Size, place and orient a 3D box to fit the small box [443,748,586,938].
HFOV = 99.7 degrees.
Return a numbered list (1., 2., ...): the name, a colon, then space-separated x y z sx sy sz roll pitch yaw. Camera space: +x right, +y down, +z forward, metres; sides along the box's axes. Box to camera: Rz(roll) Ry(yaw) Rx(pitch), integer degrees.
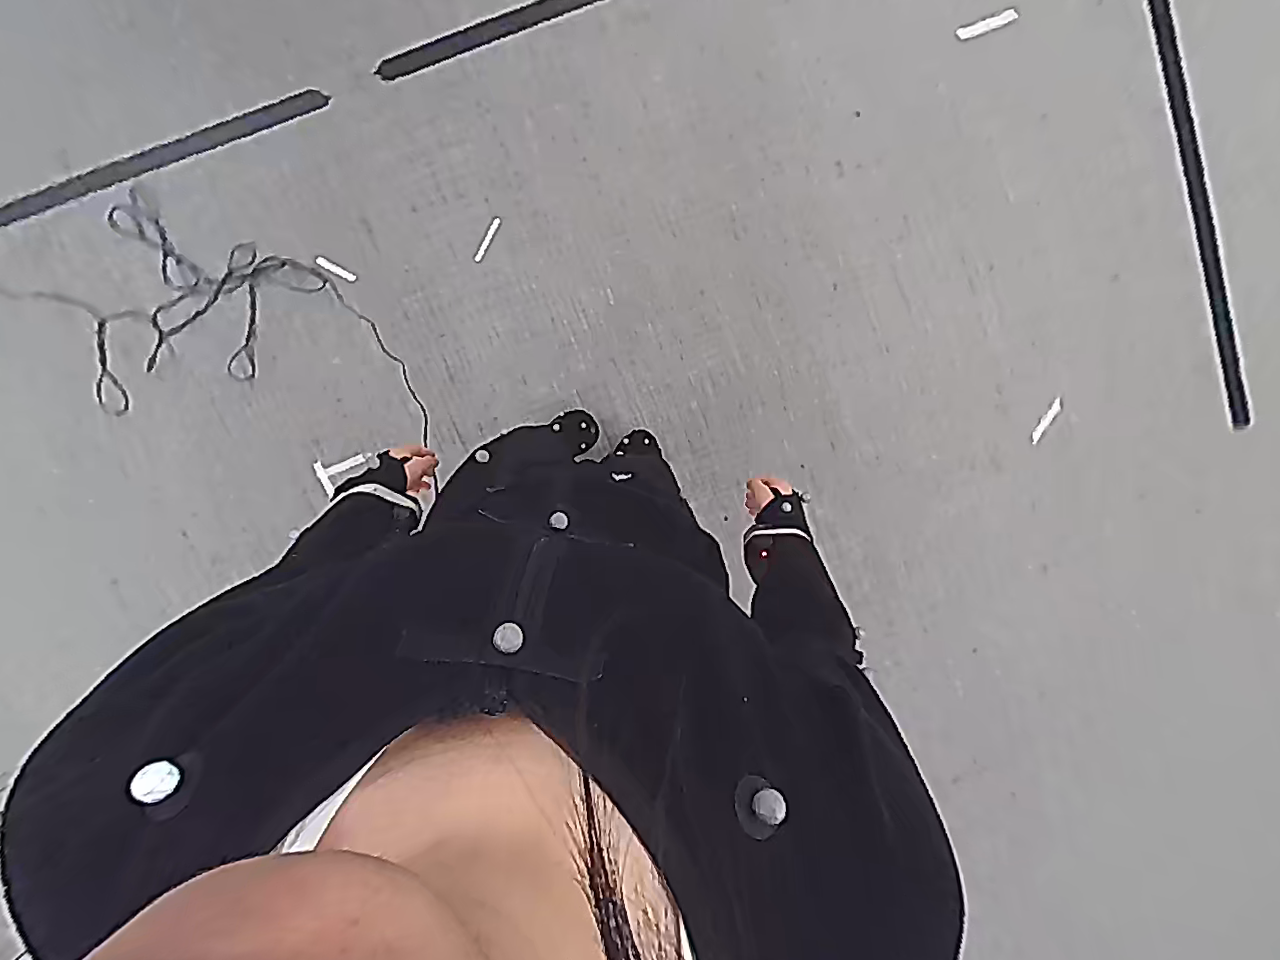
1. small box: -0.195 0.590 0.898 0.168 0.176 0.179 -19 97 0
